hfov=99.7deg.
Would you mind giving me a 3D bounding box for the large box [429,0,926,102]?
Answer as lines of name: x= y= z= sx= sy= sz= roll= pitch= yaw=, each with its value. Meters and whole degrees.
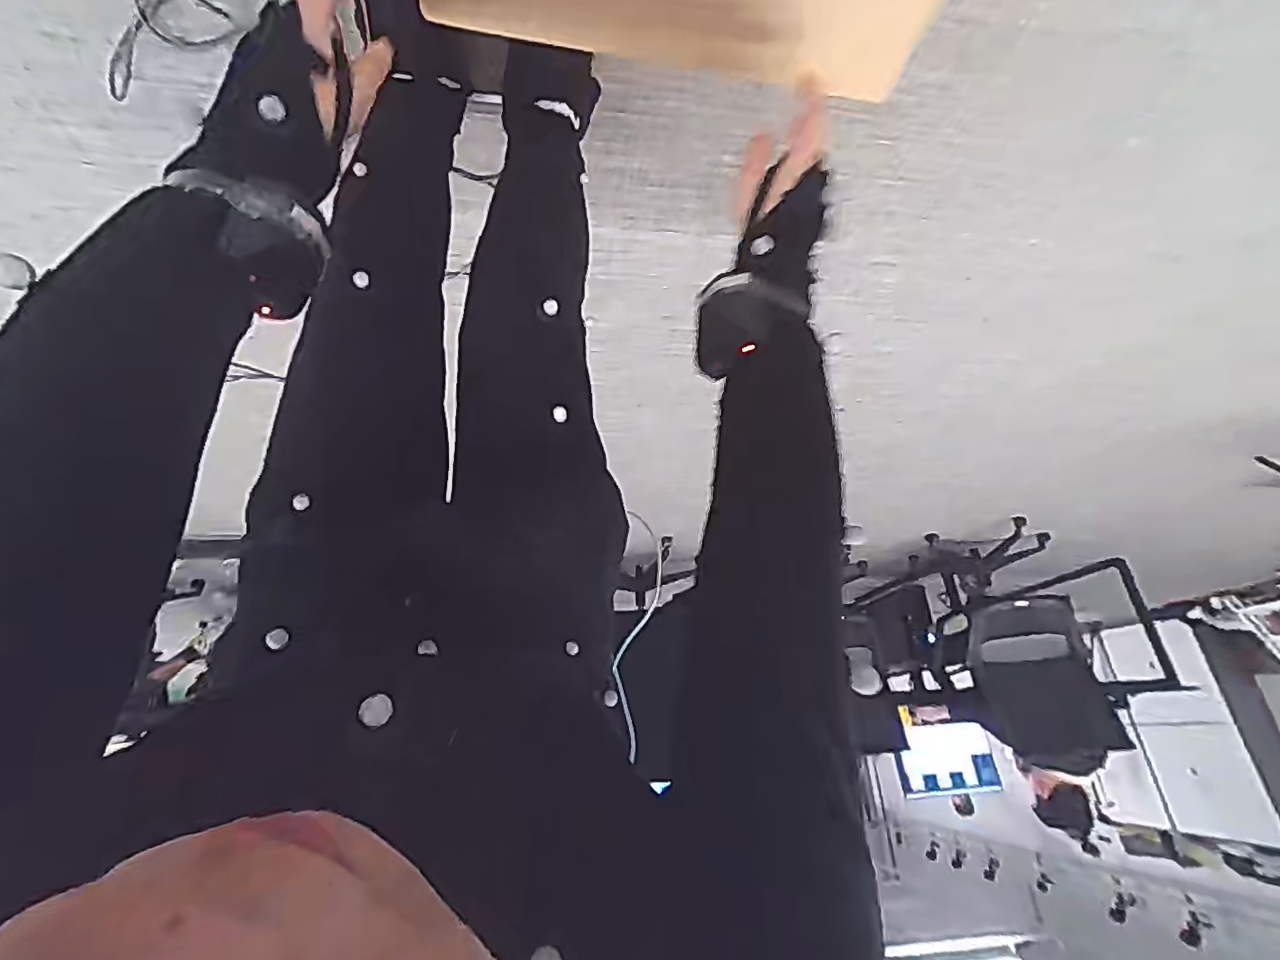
large box: x=0.039 y=-0.557 z=0.405 sx=0.408 sy=0.320 sz=0.320 roll=1 pitch=155 yaw=-12
